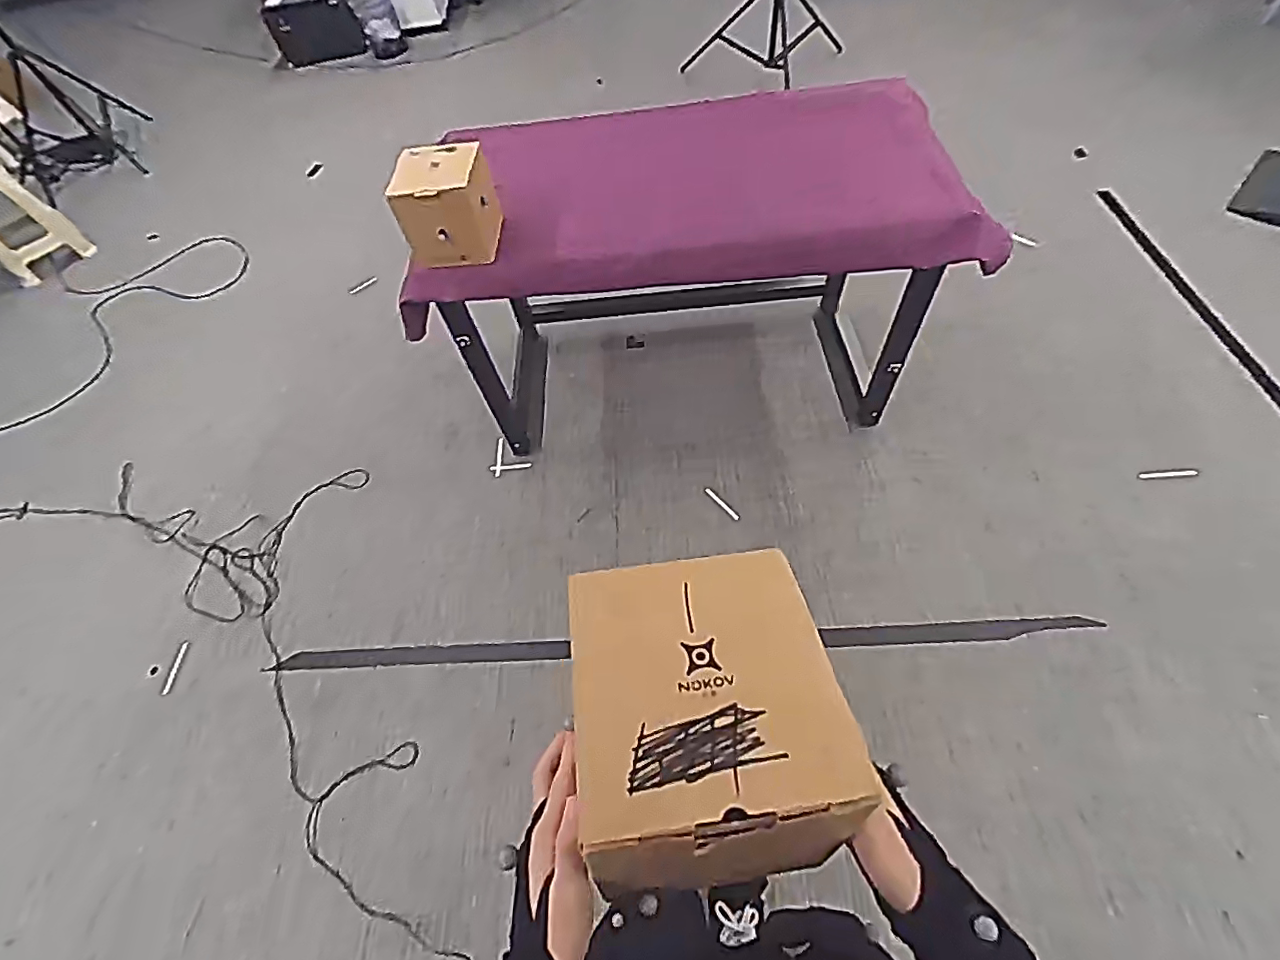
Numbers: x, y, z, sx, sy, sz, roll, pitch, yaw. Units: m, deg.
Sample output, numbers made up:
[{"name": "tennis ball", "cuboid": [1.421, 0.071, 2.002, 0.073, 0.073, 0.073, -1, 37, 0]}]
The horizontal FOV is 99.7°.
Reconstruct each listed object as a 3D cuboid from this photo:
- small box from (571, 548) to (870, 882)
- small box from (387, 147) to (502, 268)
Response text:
[{"name": "small box", "cuboid": [0.042, 0.178, 0.406, 0.168, 0.176, 0.179, -6, 44, -4]}, {"name": "small box", "cuboid": [-0.405, -0.572, 1.153, 0.168, 0.176, 0.179, -3, 59, 4]}]
